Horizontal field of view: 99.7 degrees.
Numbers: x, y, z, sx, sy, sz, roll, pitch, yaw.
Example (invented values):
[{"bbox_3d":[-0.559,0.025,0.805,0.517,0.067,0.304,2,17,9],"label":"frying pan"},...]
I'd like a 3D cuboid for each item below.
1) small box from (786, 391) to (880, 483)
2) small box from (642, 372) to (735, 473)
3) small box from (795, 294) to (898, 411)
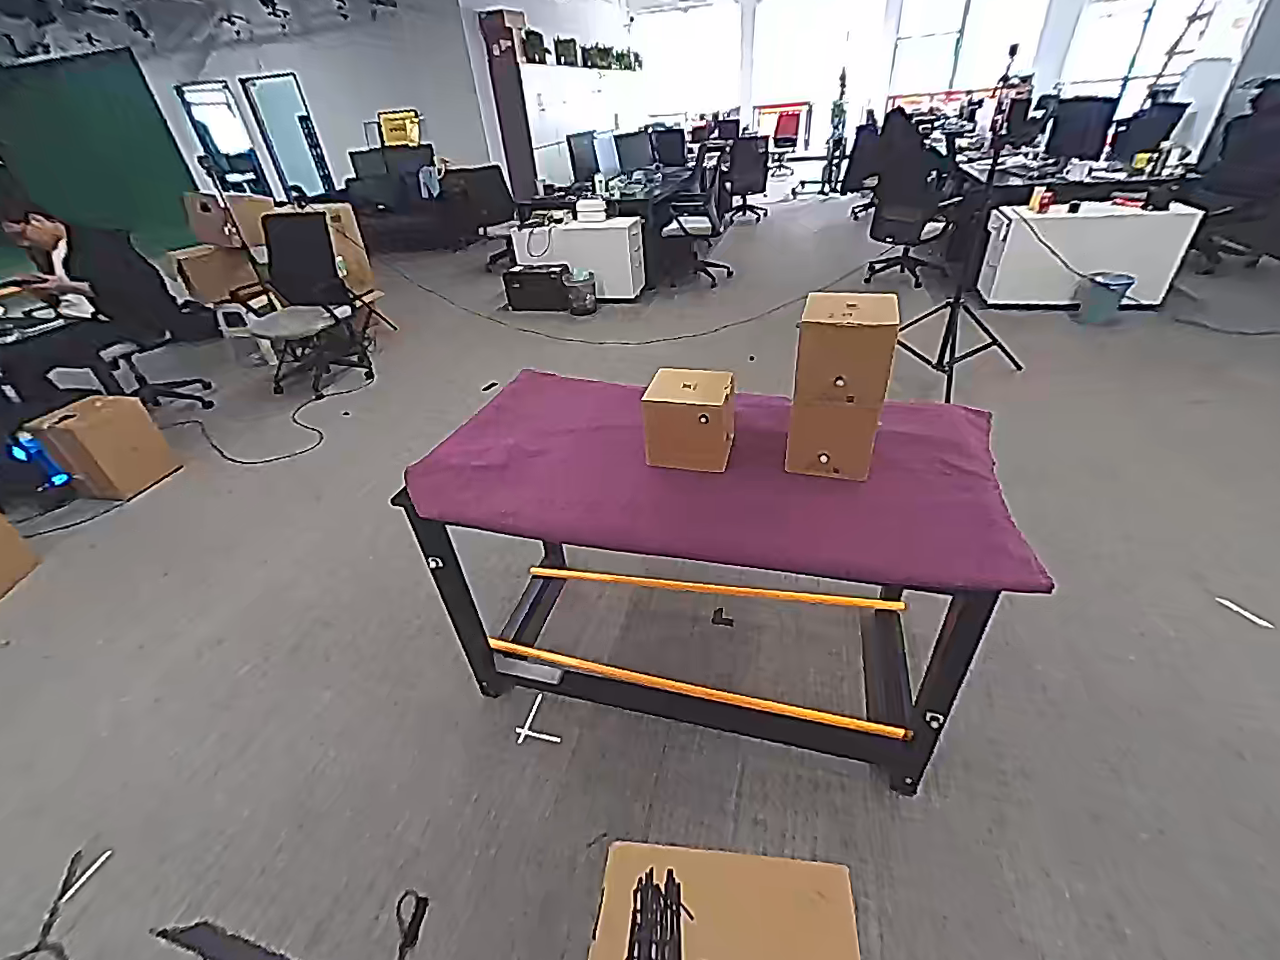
[{"bbox_3d":[0.410,-0.118,1.153,0.168,0.176,0.179,8,38,19],"label":"small box"},{"bbox_3d":[0.113,-0.131,1.214,0.179,0.176,0.168,6,36,15],"label":"small box"},{"bbox_3d":[0.399,-0.252,1.057,0.168,0.176,0.179,7,37,19],"label":"small box"}]
